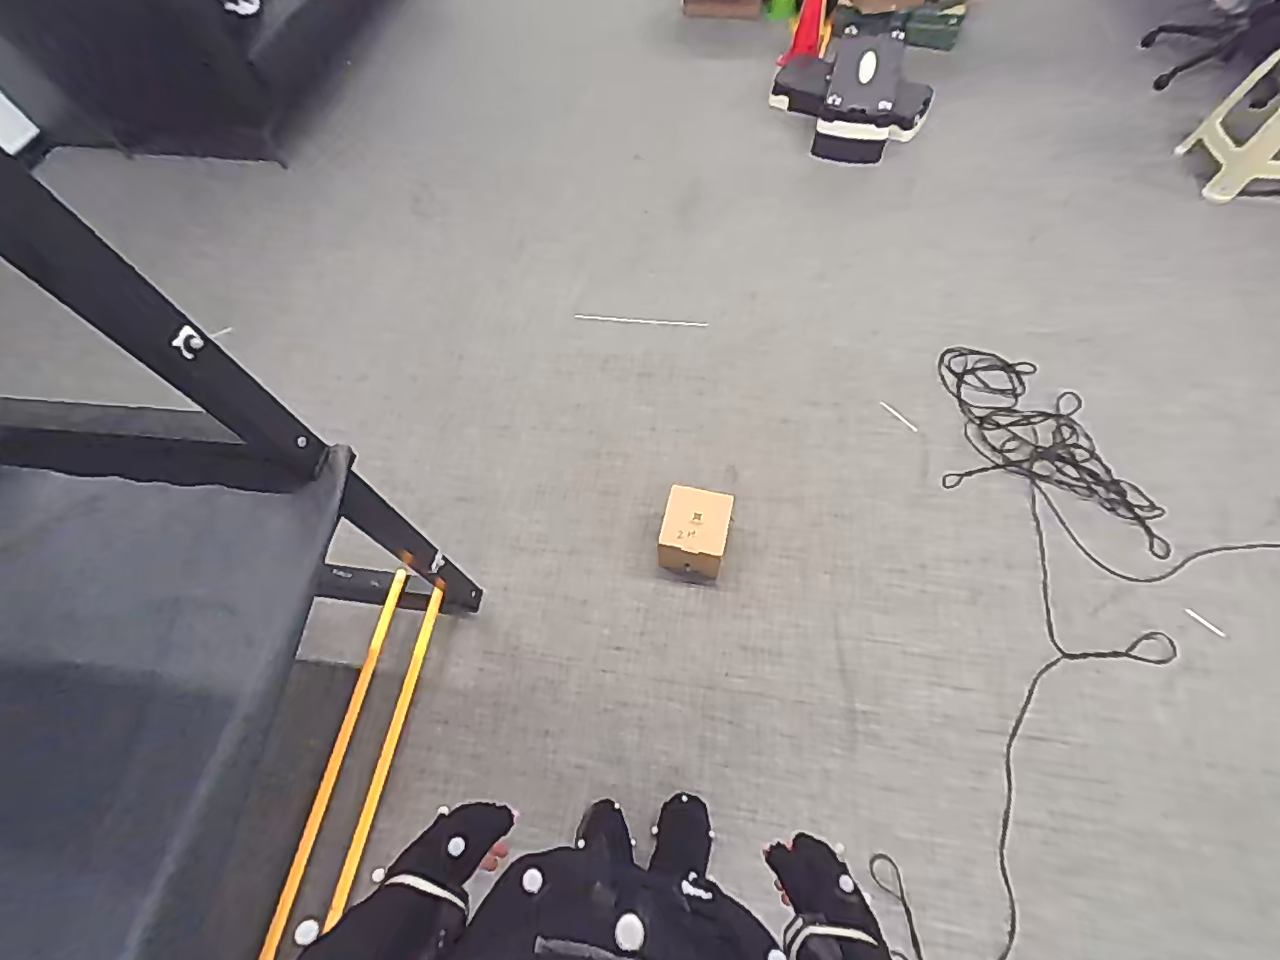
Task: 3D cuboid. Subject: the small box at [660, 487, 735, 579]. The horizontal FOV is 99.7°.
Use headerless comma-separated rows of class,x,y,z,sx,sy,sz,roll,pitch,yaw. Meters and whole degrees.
small box,0.152,0.145,1.452,0.168,0.176,0.179,11,63,10
